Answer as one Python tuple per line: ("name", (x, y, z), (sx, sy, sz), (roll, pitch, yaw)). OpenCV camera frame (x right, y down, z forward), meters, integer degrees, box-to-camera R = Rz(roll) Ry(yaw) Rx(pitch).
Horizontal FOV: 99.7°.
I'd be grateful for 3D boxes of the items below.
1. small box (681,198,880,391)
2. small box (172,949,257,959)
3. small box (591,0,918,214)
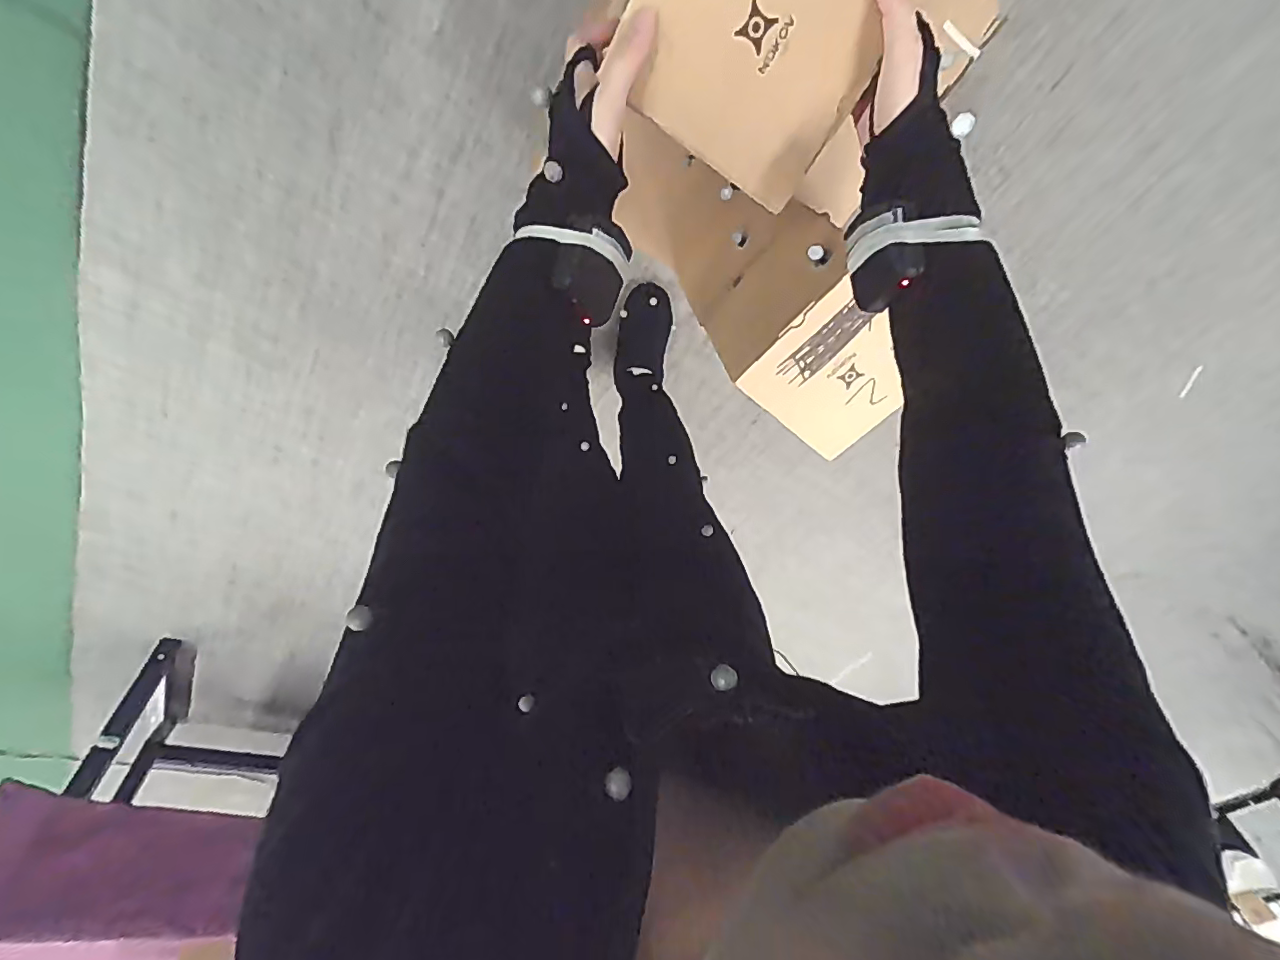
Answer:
("small box", (0.176, -0.263, 0.736), (0.168, 0.176, 0.179), (27, 120, -27))
("small box", (-1.046, 1.234, 1.278), (0.179, 0.176, 0.168), (23, 123, -23))
("small box", (0.070, -0.354, 0.441), (0.179, 0.176, 0.168), (22, 121, -24))
